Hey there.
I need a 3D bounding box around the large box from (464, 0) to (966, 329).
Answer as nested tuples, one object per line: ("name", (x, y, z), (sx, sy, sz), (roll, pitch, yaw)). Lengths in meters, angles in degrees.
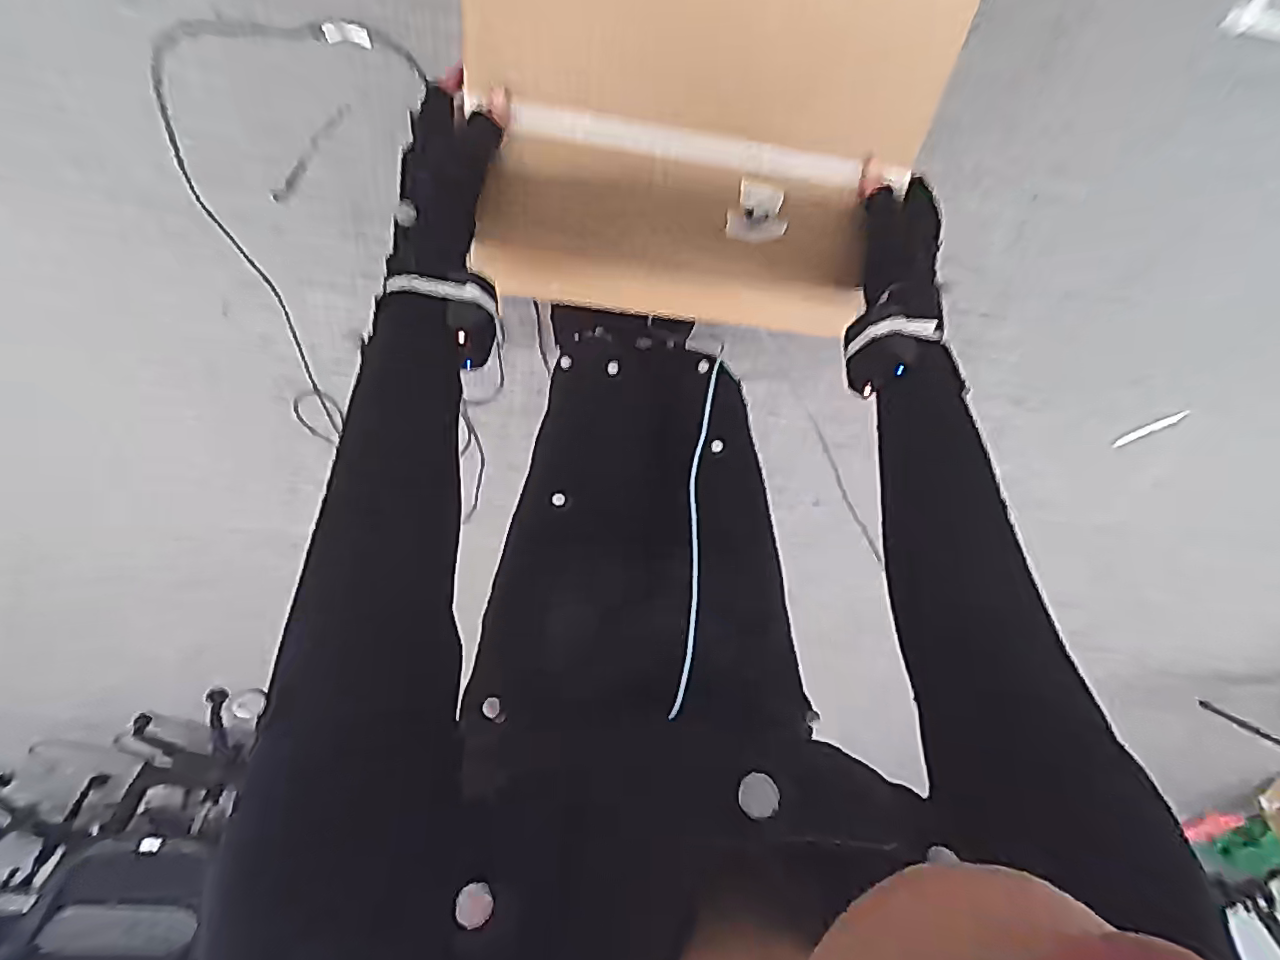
("large box", (0.038, -0.390, 0.602), (0.408, 0.320, 0.320), (4, 128, -9))
